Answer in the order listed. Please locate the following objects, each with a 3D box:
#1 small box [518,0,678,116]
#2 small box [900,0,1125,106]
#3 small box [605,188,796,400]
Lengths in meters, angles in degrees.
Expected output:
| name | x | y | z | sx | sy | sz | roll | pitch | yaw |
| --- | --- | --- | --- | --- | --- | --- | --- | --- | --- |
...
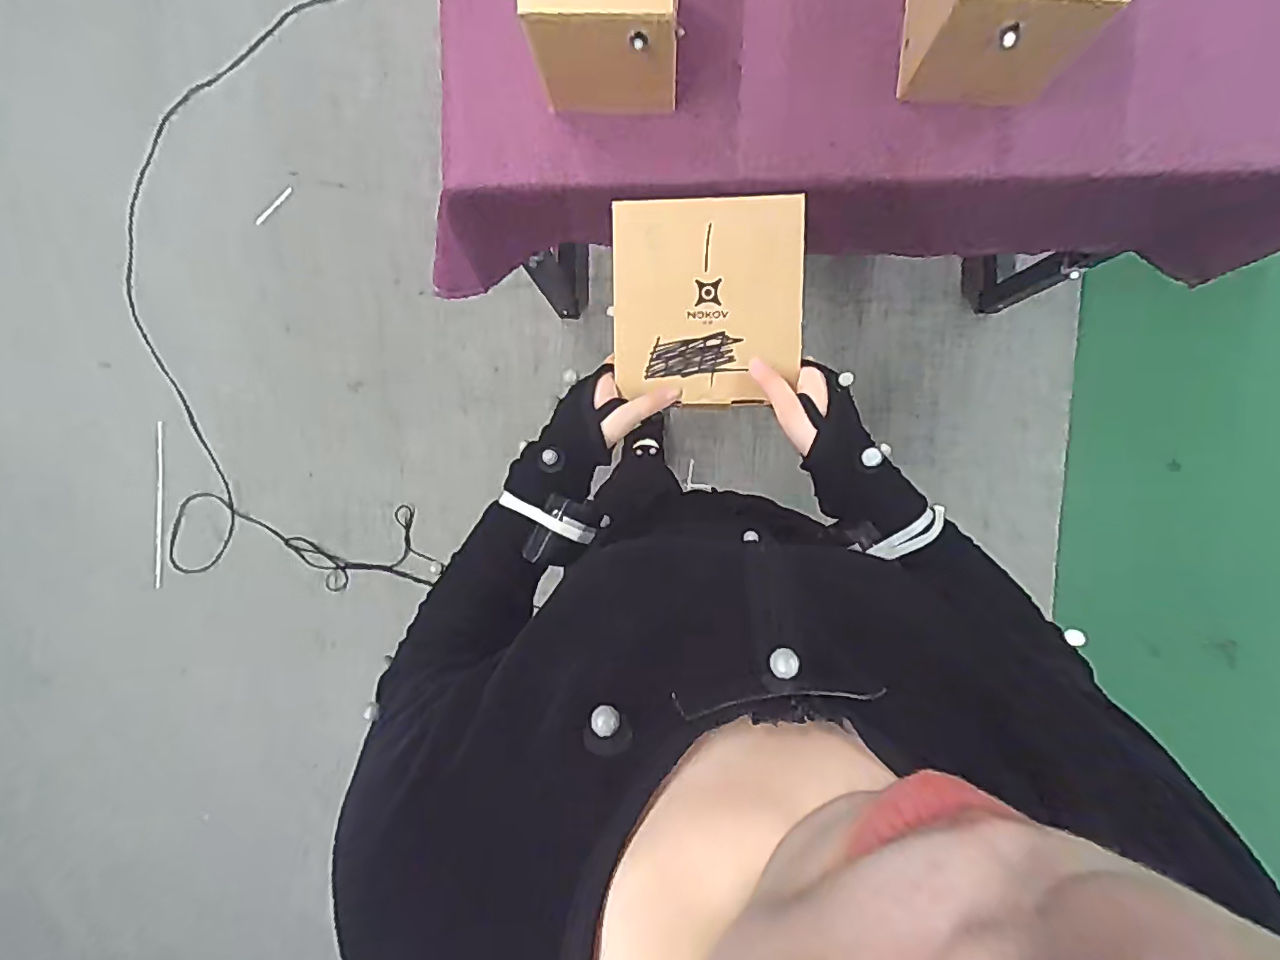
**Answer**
| name | x | y | z | sx | sy | sz | roll | pitch | yaw |
| --- | --- | --- | --- | --- | --- | --- | --- | --- | --- |
| small box | -0.042 | -0.588 | 0.676 | 0.179 | 0.176 | 0.168 | 2 | 91 | 3 |
| small box | 0.435 | -0.584 | 0.644 | 0.179 | 0.176 | 0.168 | 6 | 92 | 3 |
| small box | 0.058 | -0.171 | 0.551 | 0.168 | 0.176 | 0.179 | 0 | 96 | 5 |
